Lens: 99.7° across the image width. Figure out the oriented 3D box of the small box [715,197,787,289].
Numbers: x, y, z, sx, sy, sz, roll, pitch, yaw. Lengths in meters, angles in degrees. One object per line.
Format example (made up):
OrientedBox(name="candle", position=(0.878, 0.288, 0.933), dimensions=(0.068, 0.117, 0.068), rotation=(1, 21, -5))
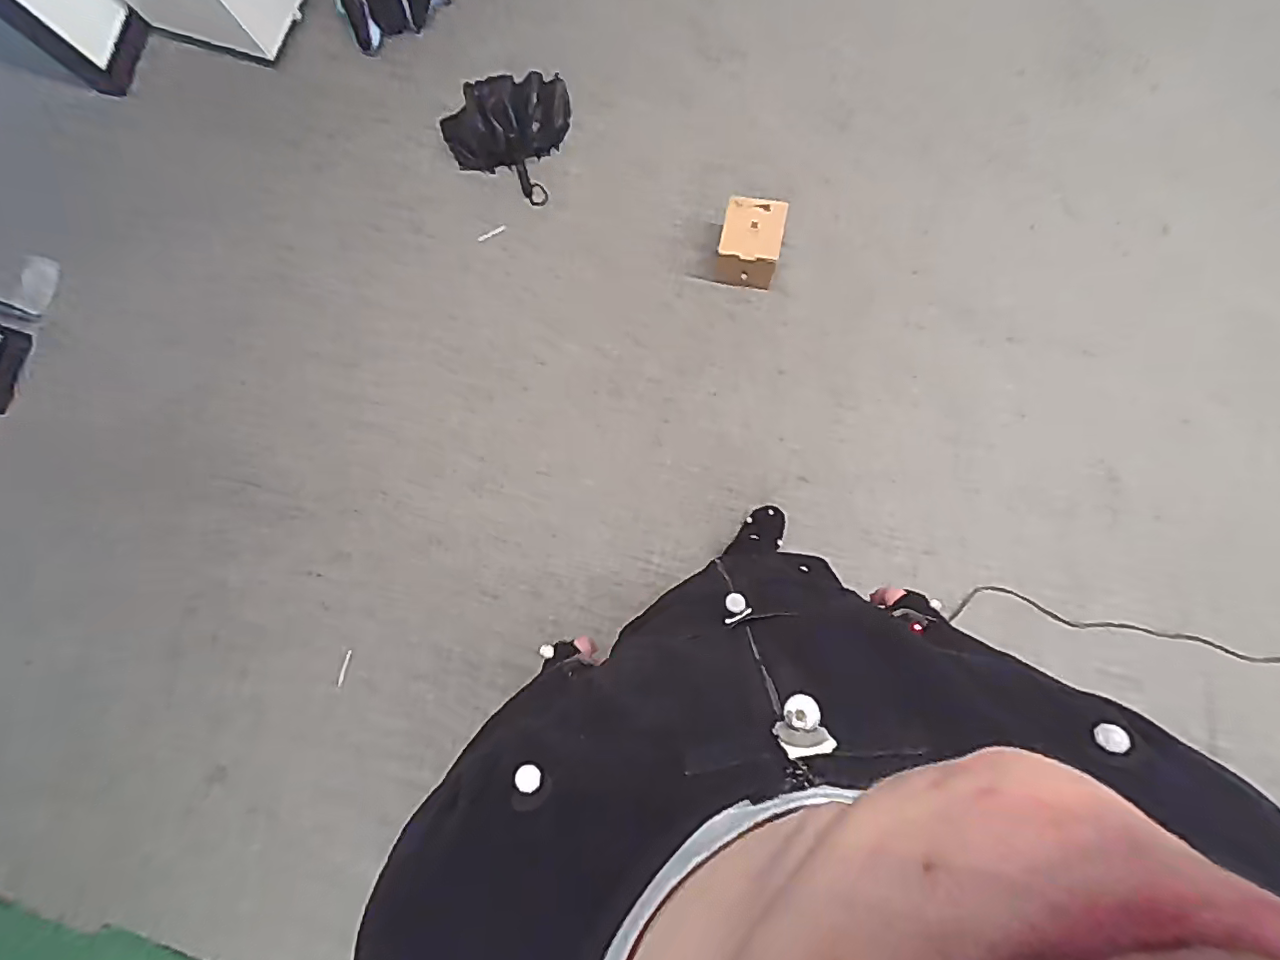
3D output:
OrientedBox(name="small box", position=(0.313, -0.674, 1.555), dimensions=(0.168, 0.176, 0.179), rotation=(12, 85, 7))
